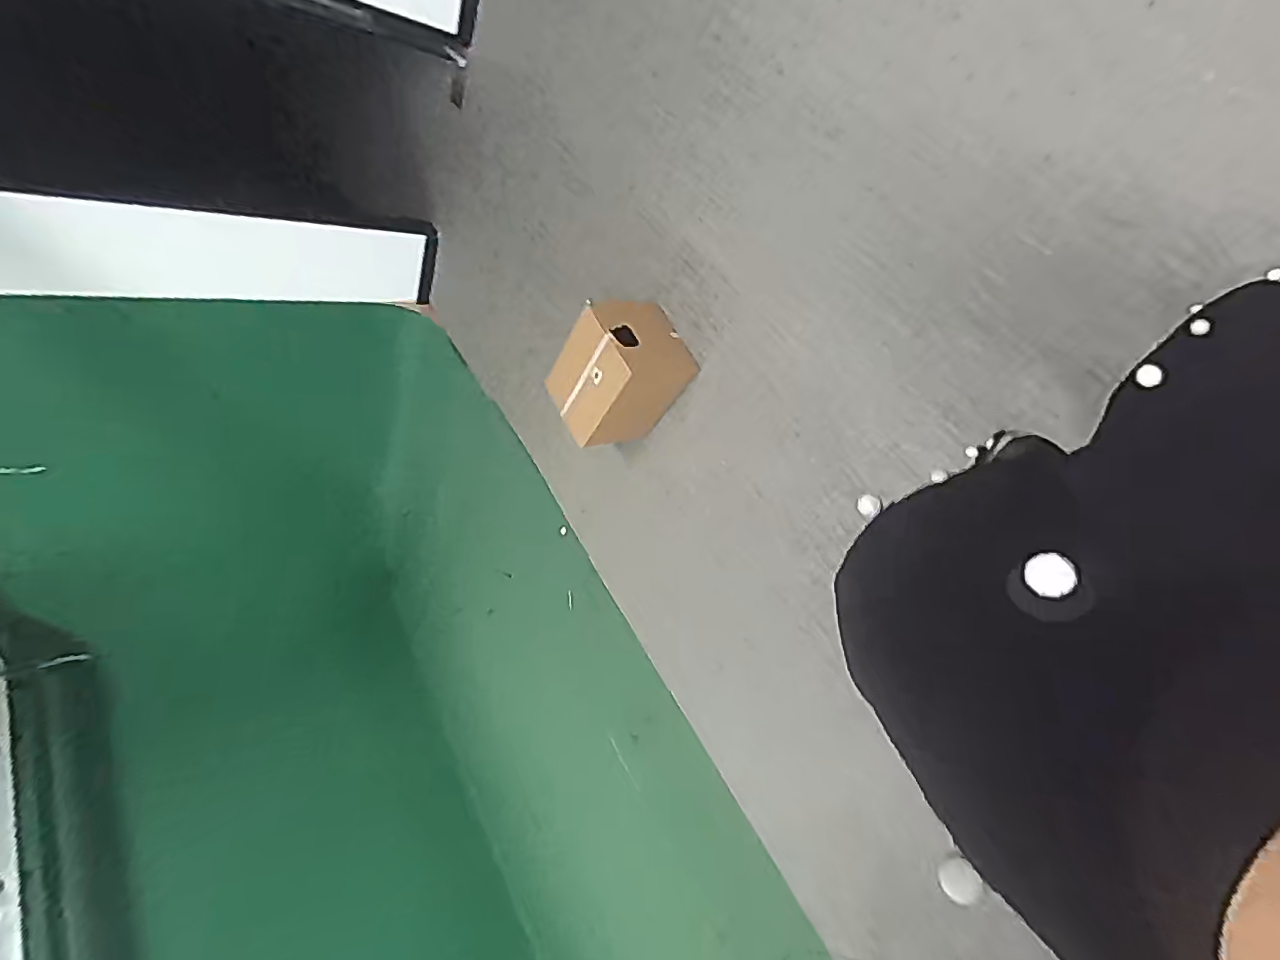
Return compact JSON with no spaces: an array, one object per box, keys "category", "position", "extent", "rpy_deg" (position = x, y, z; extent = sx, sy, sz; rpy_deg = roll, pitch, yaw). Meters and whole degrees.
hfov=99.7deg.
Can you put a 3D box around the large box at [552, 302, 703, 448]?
[{"category":"large box","position":[-0.054,-0.365,1.919],"extent":[0.408,0.320,0.320],"rpy_deg":[-49,64,43]}]
